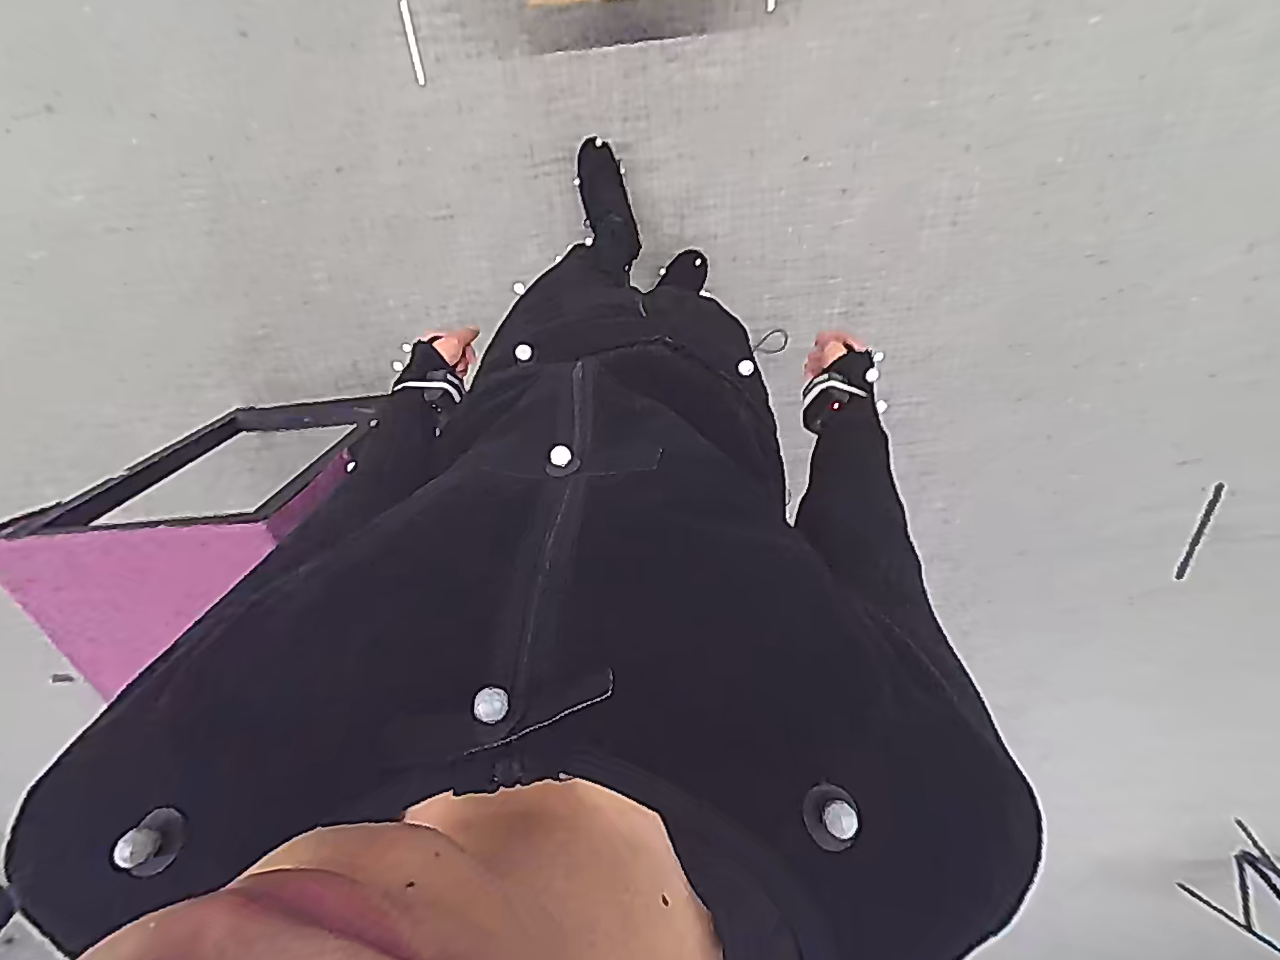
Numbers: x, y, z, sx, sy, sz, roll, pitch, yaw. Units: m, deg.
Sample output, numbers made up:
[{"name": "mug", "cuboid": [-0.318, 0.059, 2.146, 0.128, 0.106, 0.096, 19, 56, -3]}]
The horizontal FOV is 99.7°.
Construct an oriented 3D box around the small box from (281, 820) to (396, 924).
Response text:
[{"name": "small box", "cuboid": [-0.781, 1.026, 1.420, 0.179, 0.176, 0.168, -8, 119, 6]}]
